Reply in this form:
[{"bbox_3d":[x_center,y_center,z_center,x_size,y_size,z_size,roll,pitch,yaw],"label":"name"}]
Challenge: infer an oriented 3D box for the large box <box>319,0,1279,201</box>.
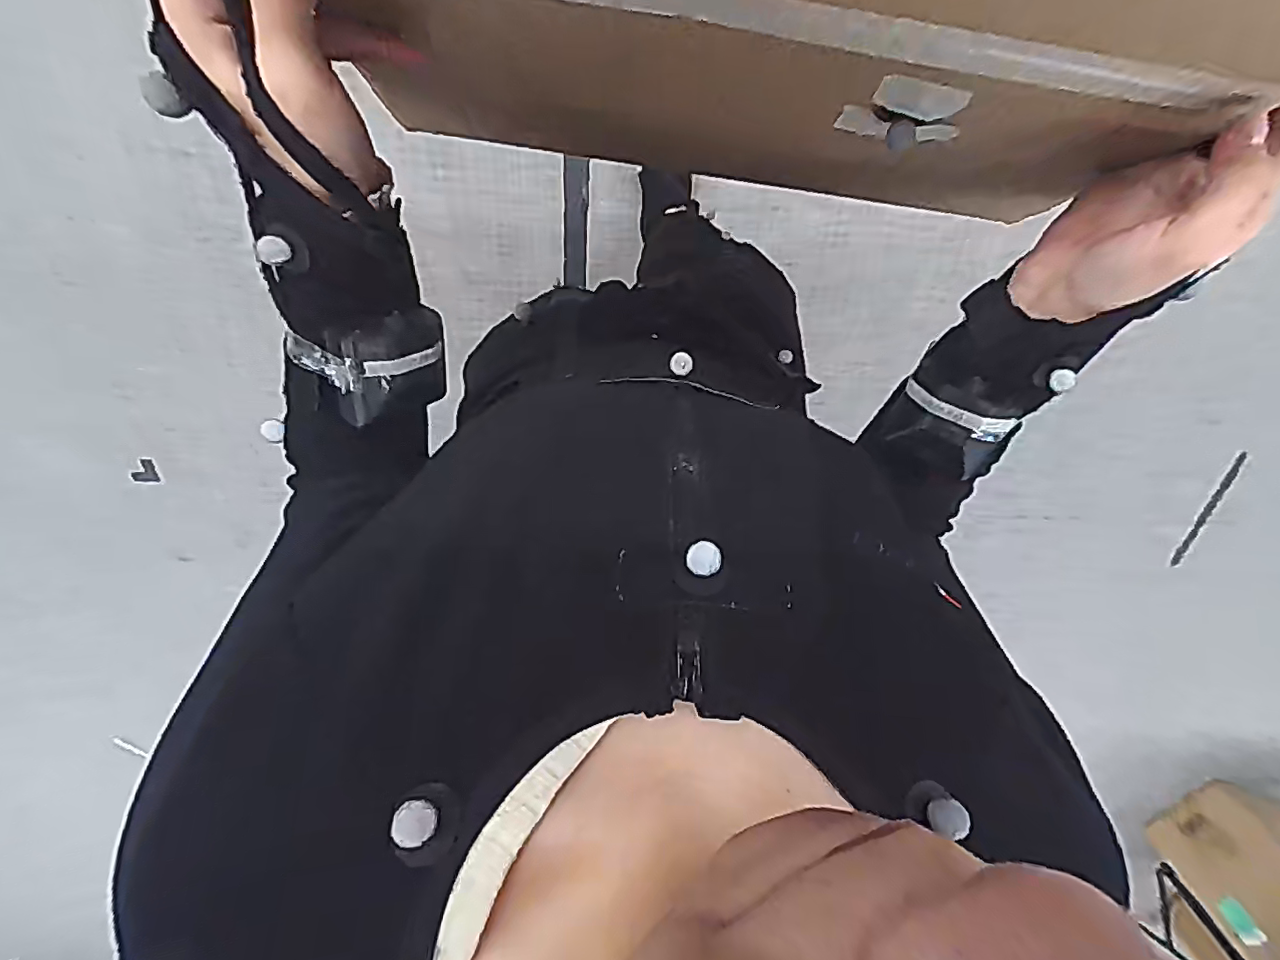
[{"bbox_3d":[0.074,-0.333,0.182,0.408,0.320,0.320,5,99,-4],"label":"large box"}]
